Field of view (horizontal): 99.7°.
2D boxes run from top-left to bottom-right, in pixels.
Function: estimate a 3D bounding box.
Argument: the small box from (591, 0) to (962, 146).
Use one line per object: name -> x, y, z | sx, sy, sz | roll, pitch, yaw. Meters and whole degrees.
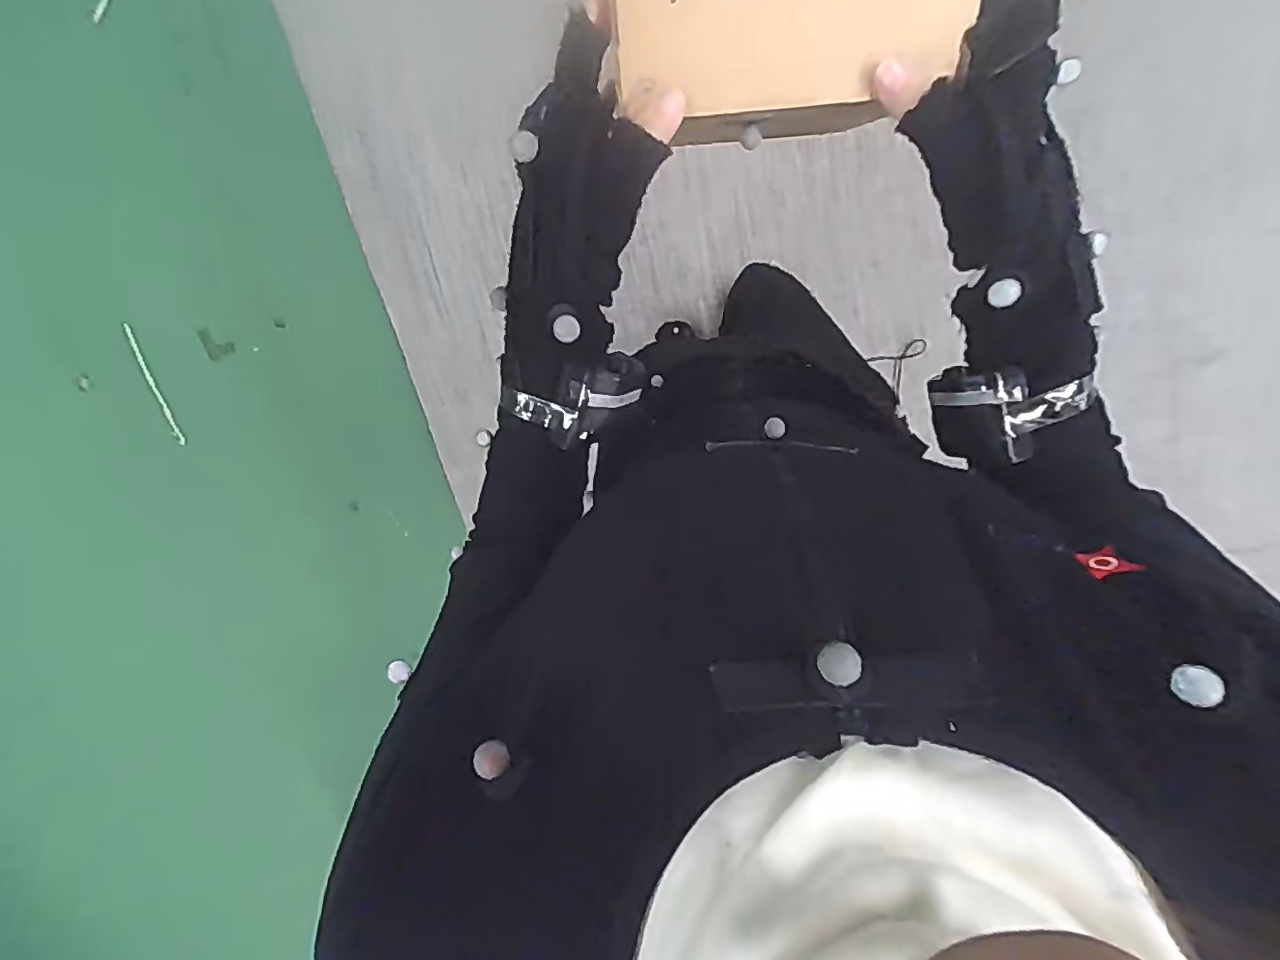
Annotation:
small box -> 0.062, -0.297, 0.306 | 0.179, 0.176, 0.168 | -4, 117, 1
